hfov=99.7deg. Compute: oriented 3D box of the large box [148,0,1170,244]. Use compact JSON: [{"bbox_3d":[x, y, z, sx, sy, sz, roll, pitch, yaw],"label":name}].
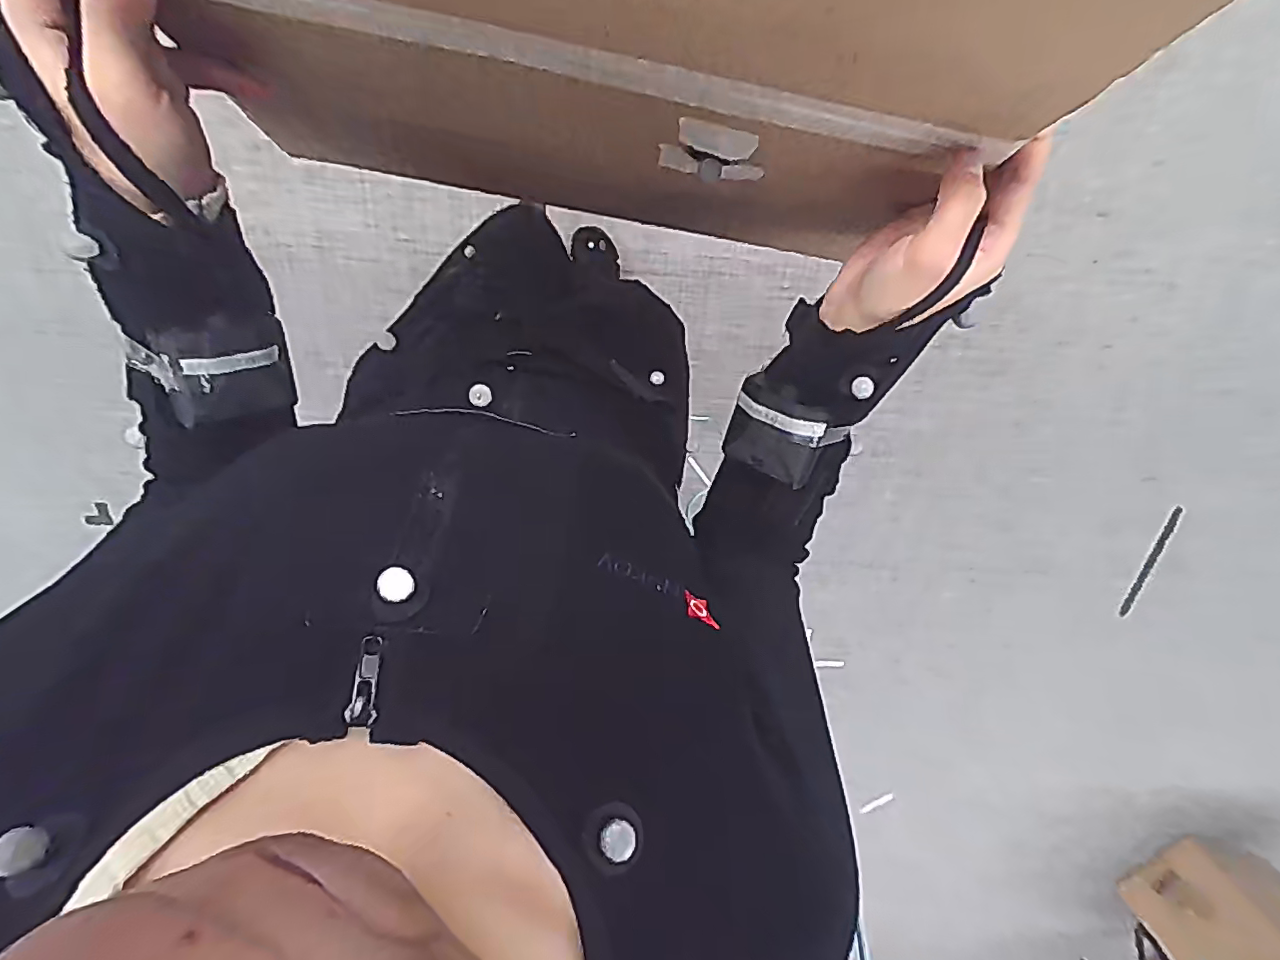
[{"bbox_3d":[-0.005,-0.342,0.231,0.408,0.320,0.320,7,93,-6],"label":"large box"}]
